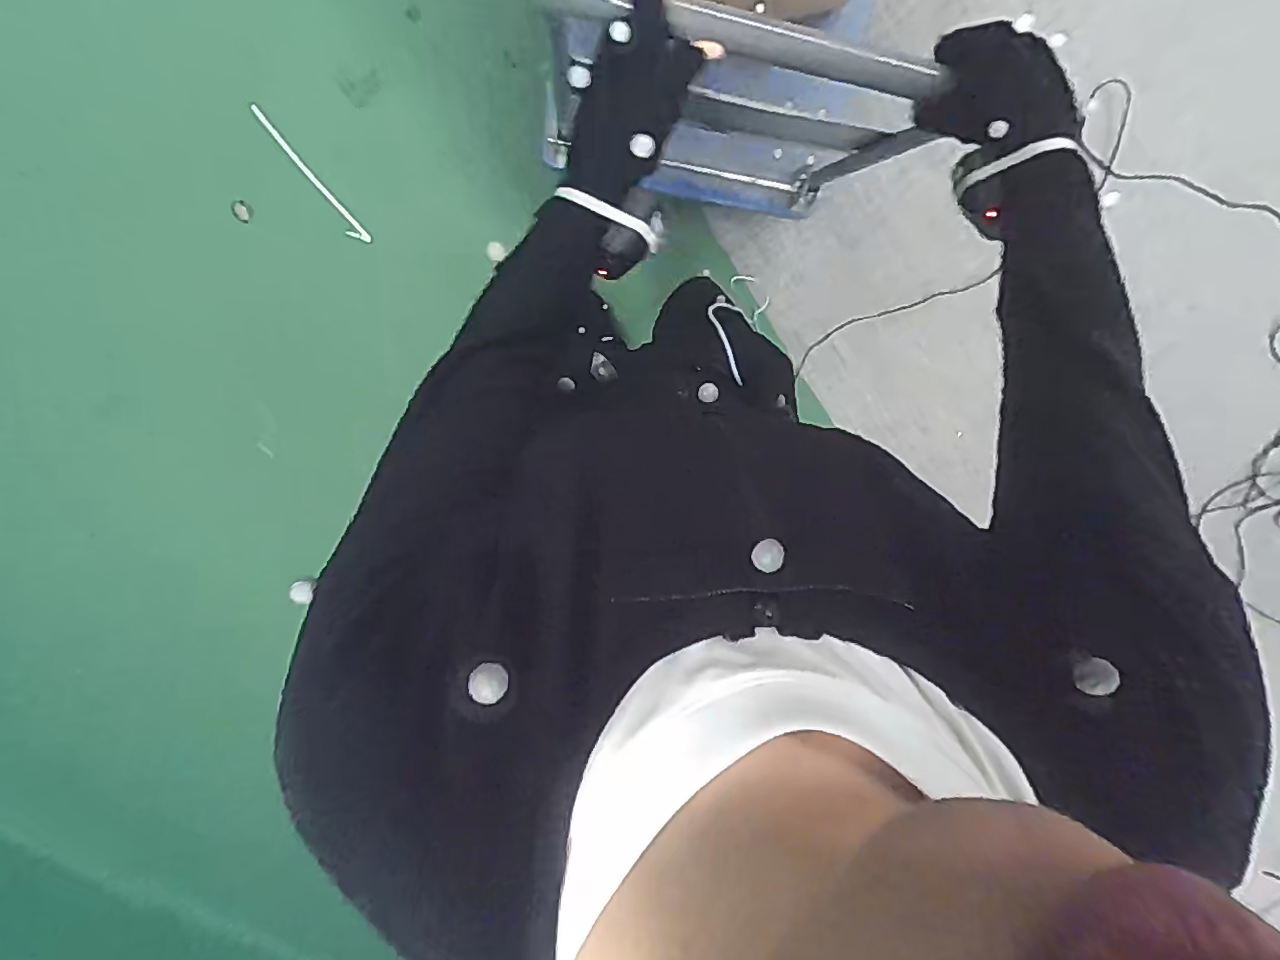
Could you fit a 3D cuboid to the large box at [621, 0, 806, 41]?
[{"bbox_3d":[0.154,-0.918,0.793,0.408,0.320,0.320,-12,114,1],"label":"large box"}]
